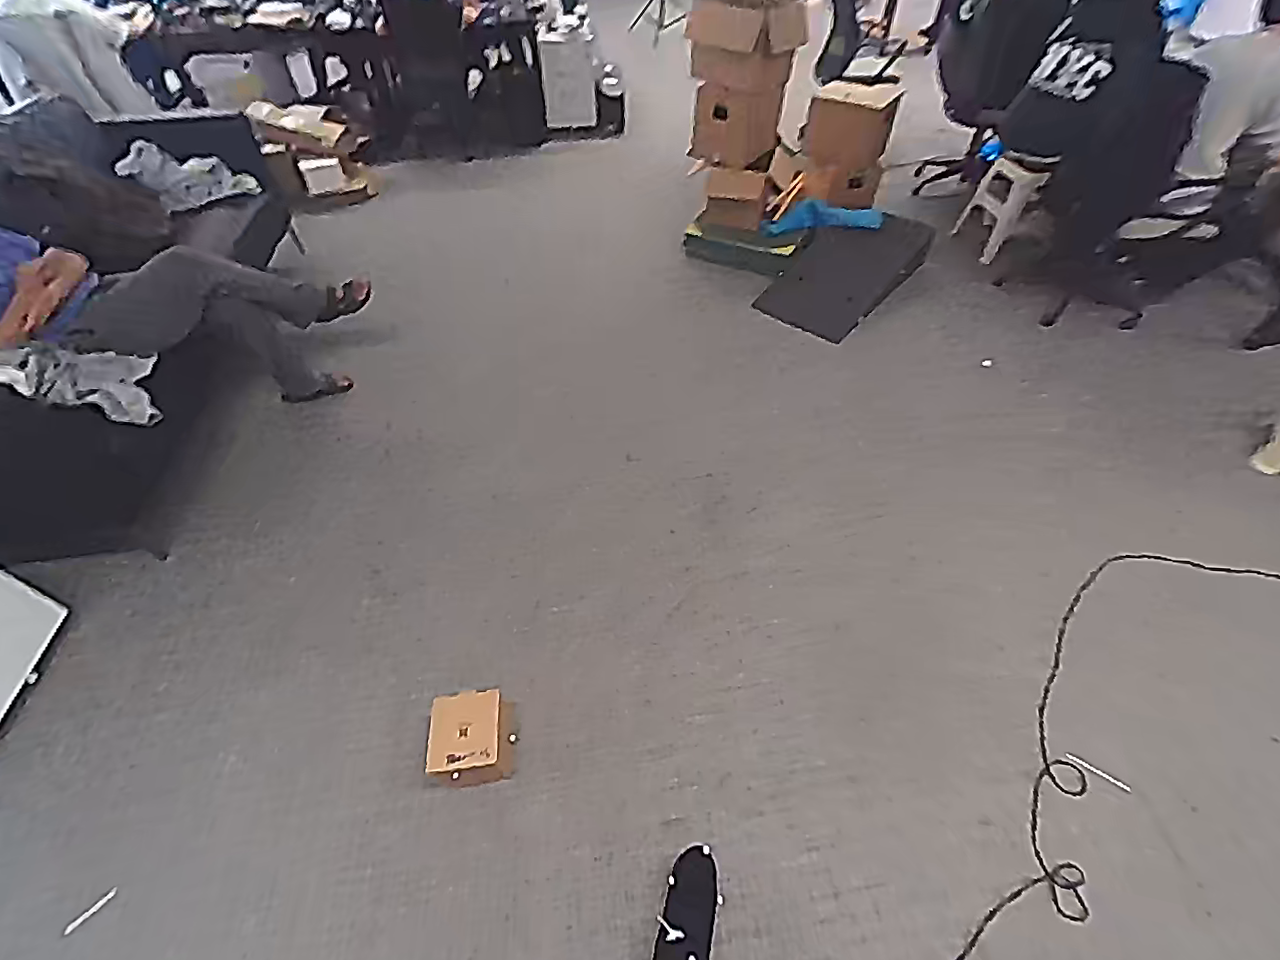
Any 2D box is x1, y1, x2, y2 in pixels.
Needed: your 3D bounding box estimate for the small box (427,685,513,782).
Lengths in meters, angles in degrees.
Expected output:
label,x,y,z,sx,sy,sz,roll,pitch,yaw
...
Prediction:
label,x,y,z,sx,sy,sz,roll,pitch,yaw
small box,-0.422,0.643,1.372,0.168,0.176,0.179,-5,49,-4
